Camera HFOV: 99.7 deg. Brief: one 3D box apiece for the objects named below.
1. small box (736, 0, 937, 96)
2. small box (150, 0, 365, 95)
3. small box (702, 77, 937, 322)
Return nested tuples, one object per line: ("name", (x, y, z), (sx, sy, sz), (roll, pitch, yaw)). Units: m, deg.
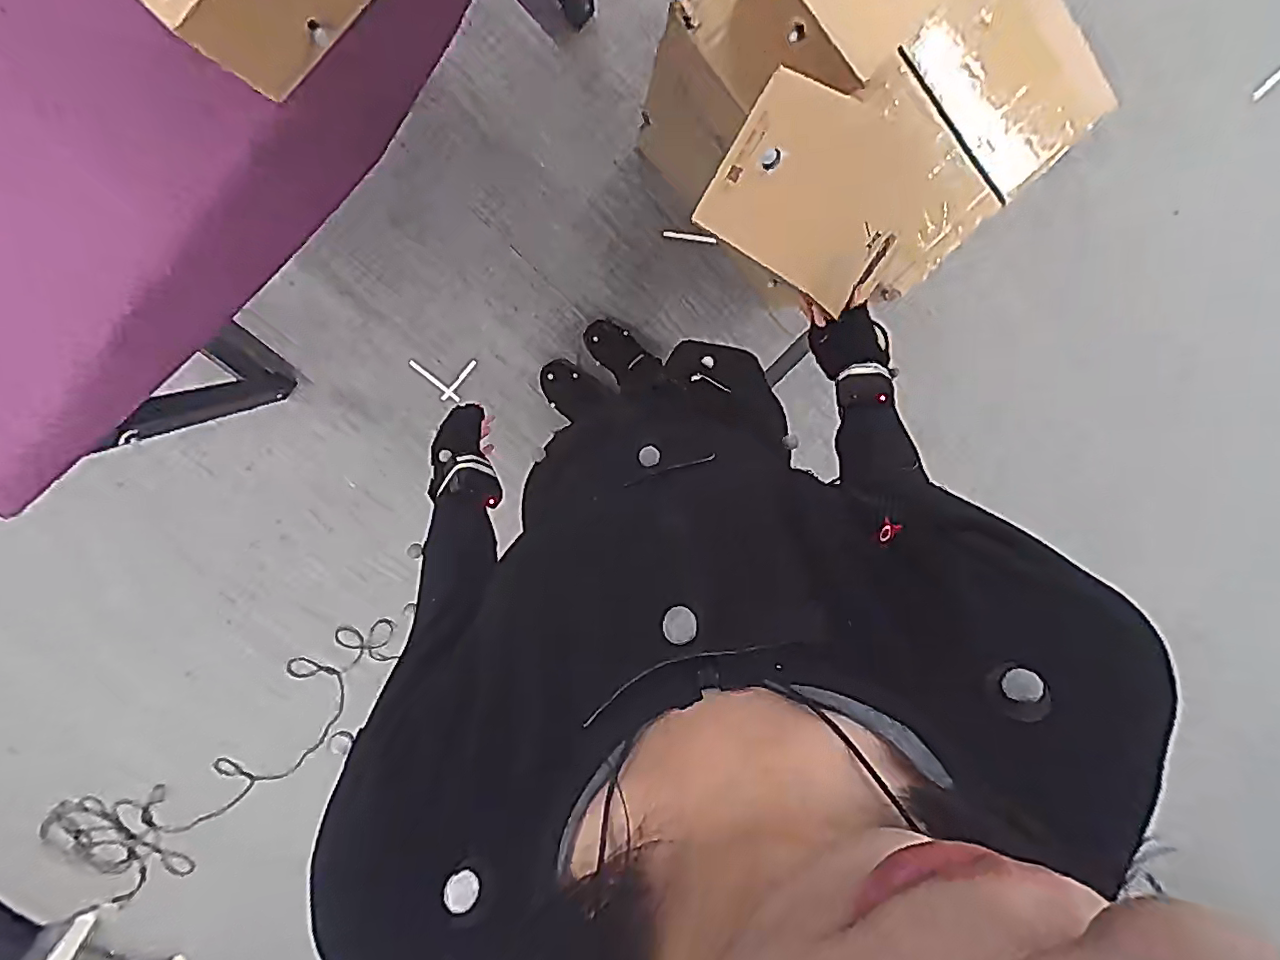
("small box", (0.239, -0.586, 0.642), (0.179, 0.176, 0.168), (41, 102, -16))
("small box", (-0.388, -0.516, 0.499), (0.179, 0.176, 0.168), (-42, 105, 7))
("small box", (0.203, -0.309, 0.614), (0.176, 0.179, 0.168), (43, 113, 23))
